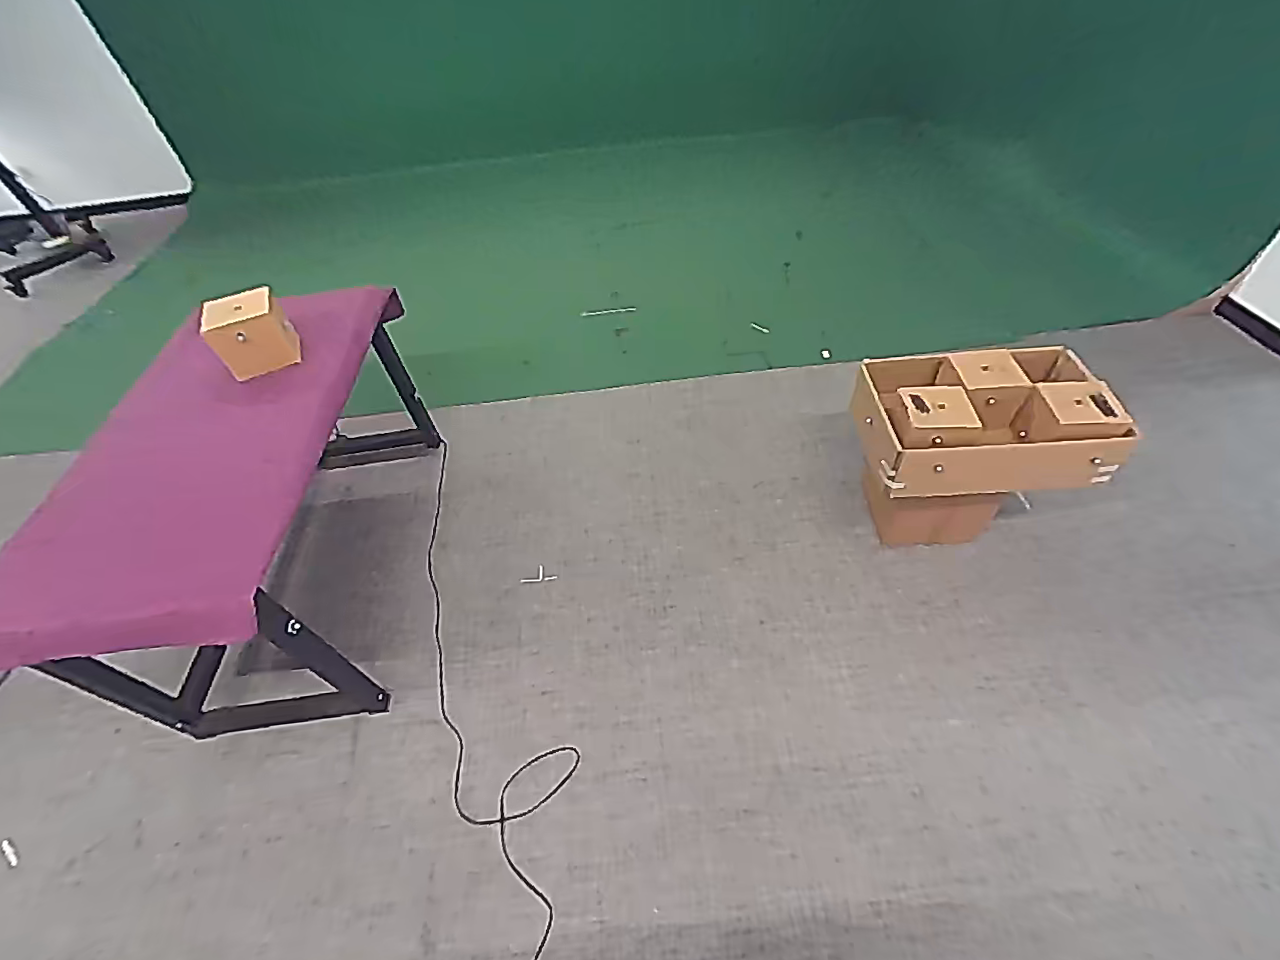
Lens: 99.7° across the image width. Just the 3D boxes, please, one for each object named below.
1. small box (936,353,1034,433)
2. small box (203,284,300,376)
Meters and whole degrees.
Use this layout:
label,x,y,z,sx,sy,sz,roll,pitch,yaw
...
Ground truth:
label,x,y,z,sx,sy,sz,roll,pitch,yaw
small box,1.000,-0.254,1.592,0.179,0.176,0.168,-3,50,4
small box,-1.104,-0.428,1.553,0.179,0.176,0.168,-23,51,-13
